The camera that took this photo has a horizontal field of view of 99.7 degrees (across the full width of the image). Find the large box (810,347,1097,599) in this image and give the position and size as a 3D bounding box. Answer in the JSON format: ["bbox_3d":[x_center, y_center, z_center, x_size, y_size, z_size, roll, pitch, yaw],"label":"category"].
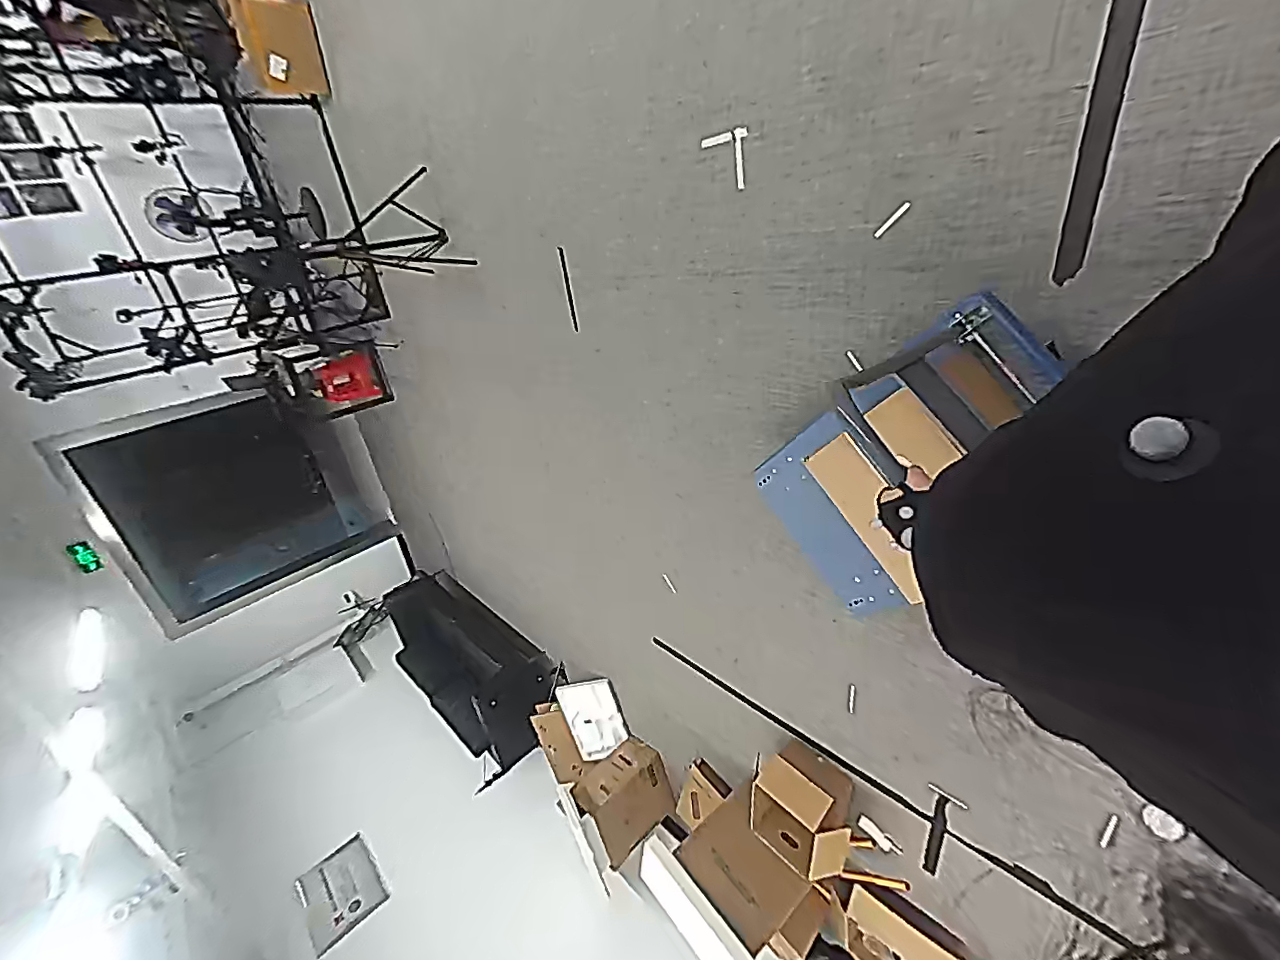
[{"bbox_3d":[0.678,-0.016,1.196,0.408,0.320,0.320,56,144,11],"label":"large box"}]
